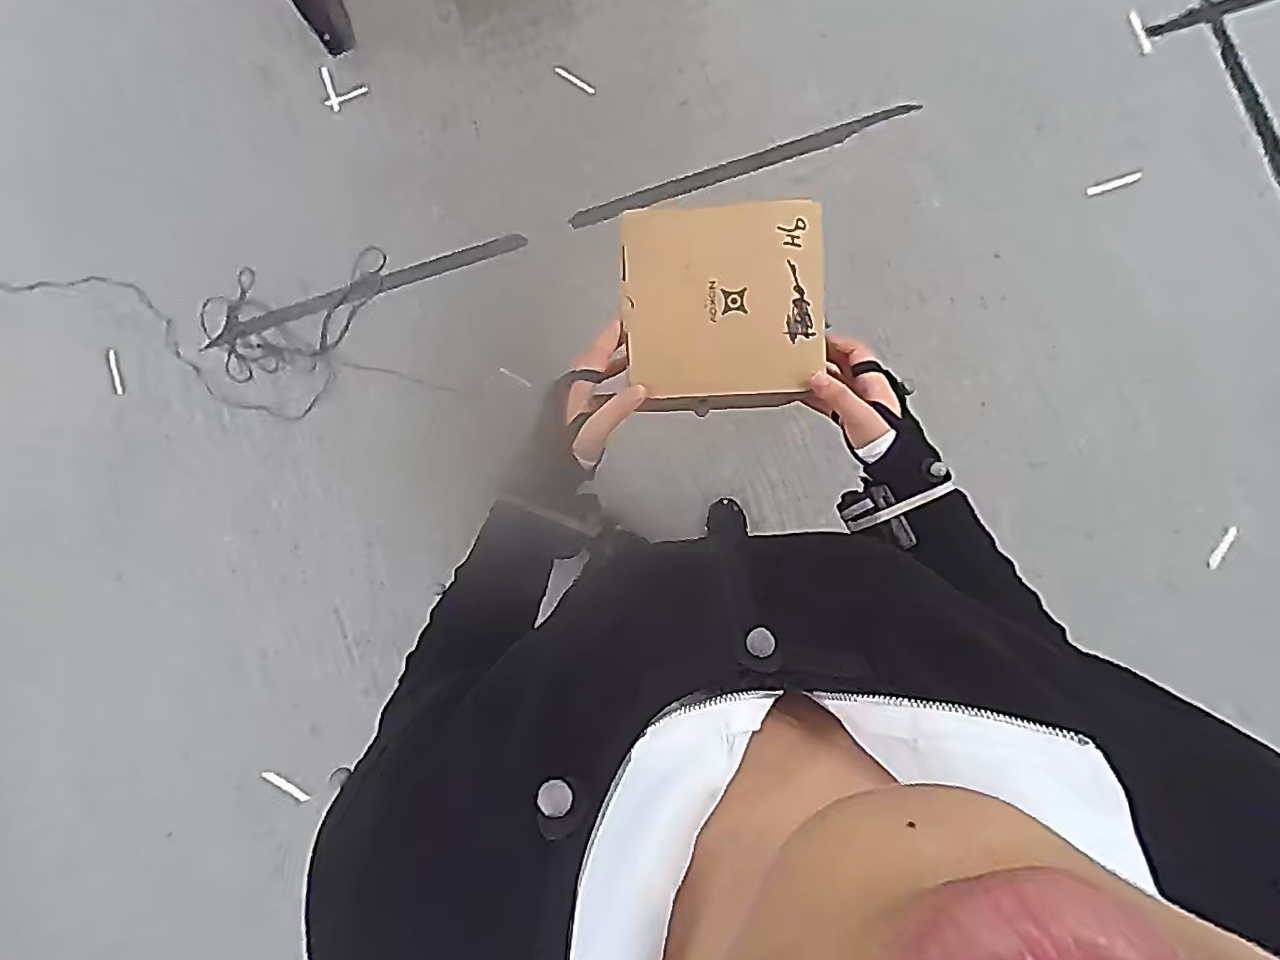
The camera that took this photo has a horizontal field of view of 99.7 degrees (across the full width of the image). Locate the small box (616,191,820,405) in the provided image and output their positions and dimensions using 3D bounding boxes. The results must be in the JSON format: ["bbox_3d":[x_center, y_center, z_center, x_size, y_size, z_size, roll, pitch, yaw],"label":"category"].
[{"bbox_3d":[0.072,-0.168,0.553,0.179,0.176,0.168,-3,93,2],"label":"small box"}]

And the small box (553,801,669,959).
[{"bbox_3d":[-0.047,0.763,1.036,0.168,0.176,0.179,-21,85,1],"label":"small box"}]
